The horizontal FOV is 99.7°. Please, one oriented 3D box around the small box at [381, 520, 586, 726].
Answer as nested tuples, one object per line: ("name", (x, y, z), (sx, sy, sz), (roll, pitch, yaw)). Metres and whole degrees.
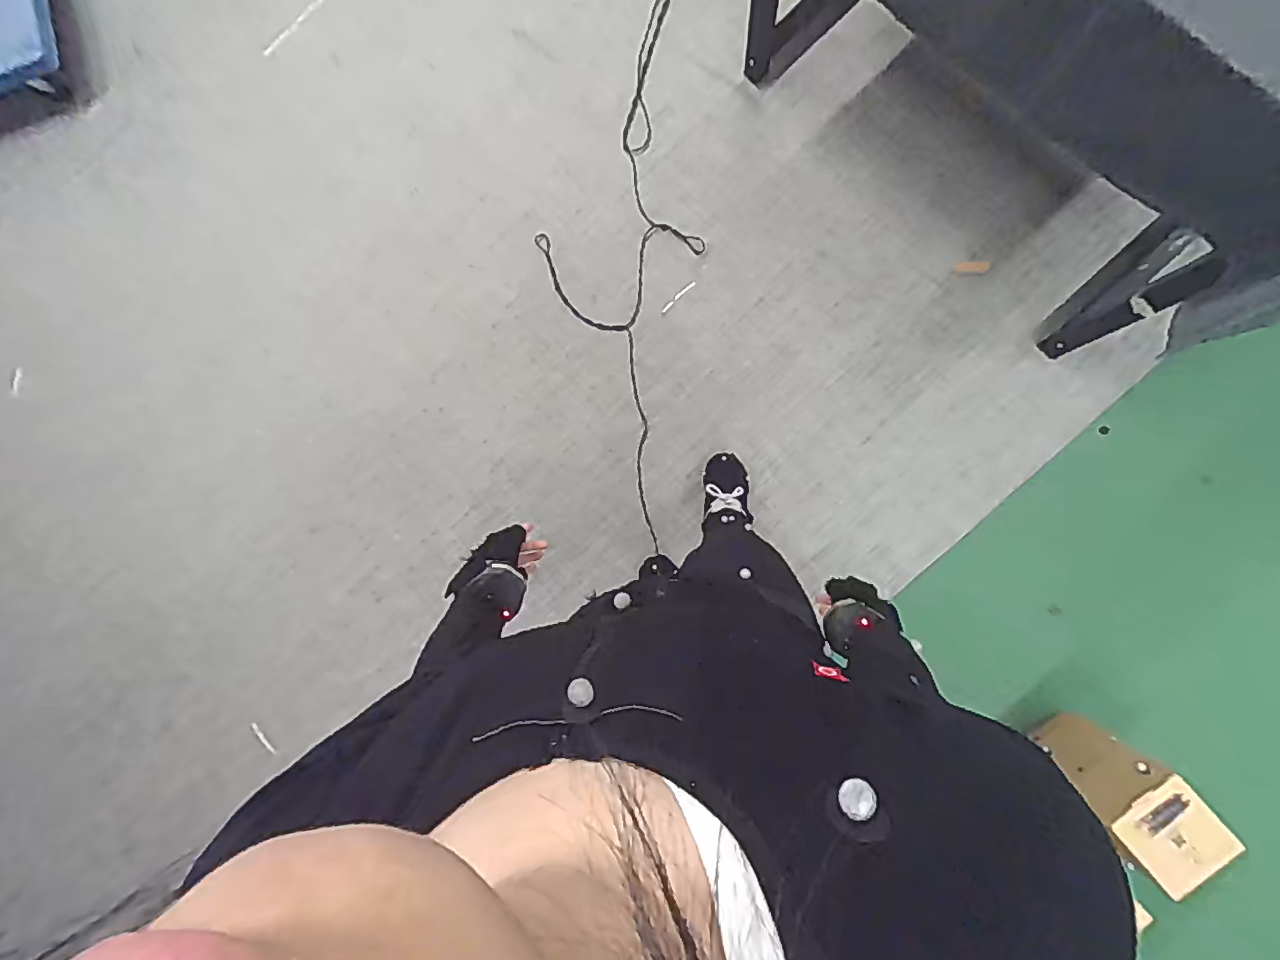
("small box", (-0.189, 0.175, 0.688), (0.168, 0.179, 0.176), (43, 82, 6))
